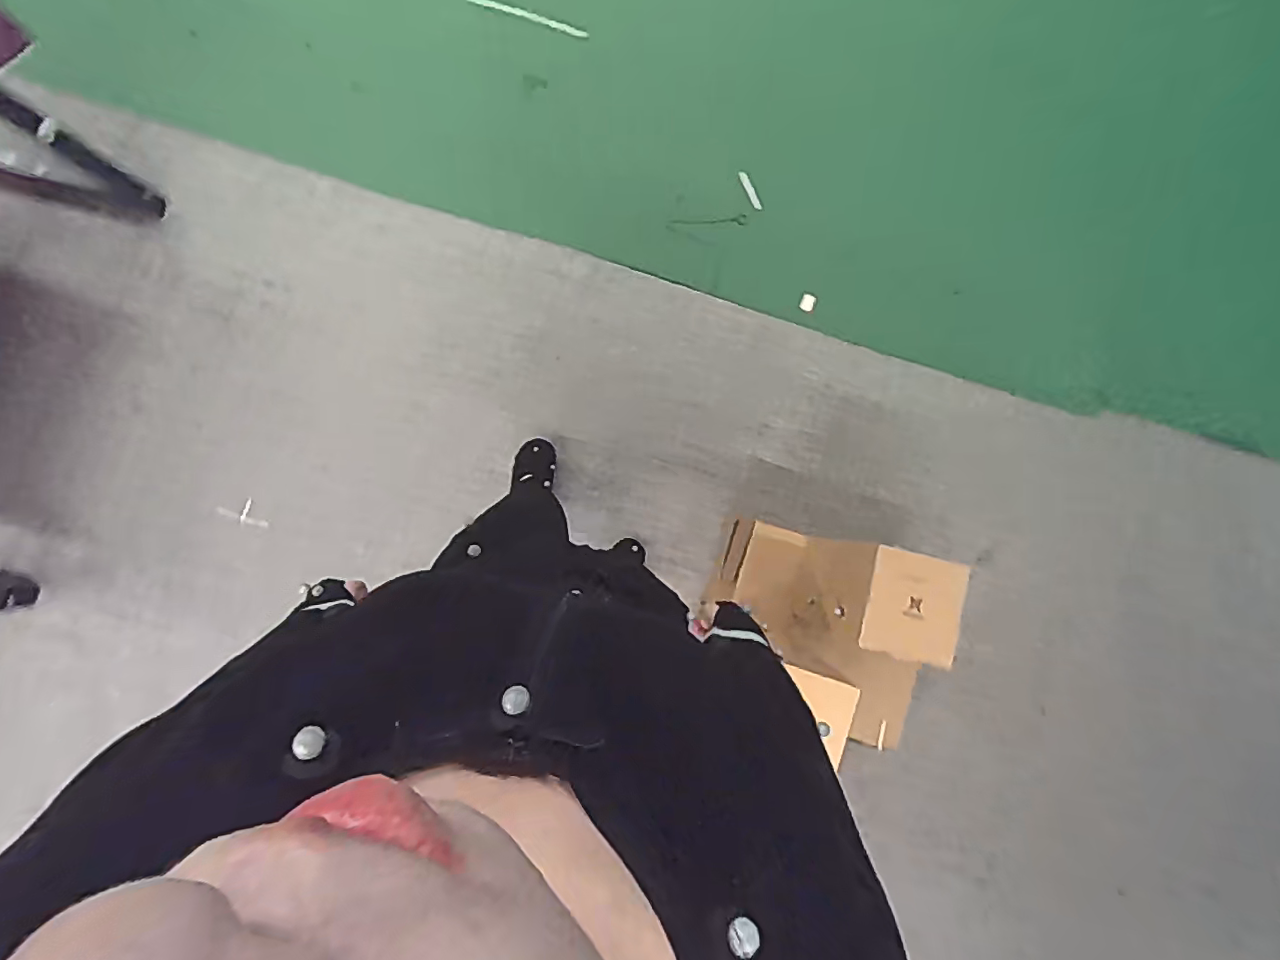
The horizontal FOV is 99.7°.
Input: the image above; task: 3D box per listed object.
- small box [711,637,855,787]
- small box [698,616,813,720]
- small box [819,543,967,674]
[{"bbox_3d":[0.240,0.394,0.950,0.179,0.176,0.168,19,87,-1],"label":"small box"},{"bbox_3d":[0.228,0.401,1.115,0.168,0.176,0.179,19,86,-3],"label":"small box"},{"bbox_3d":[0.442,0.221,0.974,0.168,0.176,0.179,16,85,-4],"label":"small box"}]
